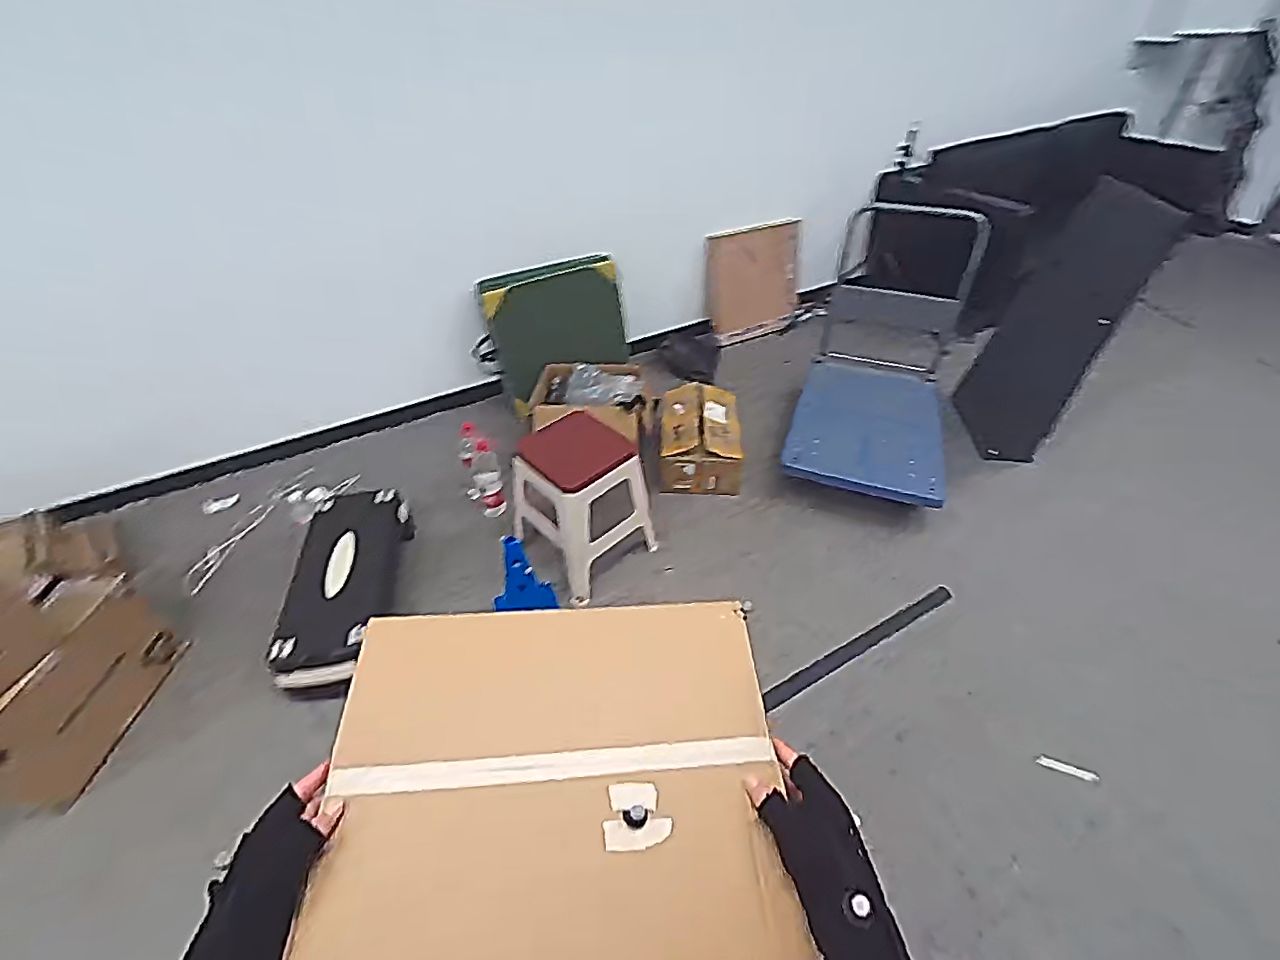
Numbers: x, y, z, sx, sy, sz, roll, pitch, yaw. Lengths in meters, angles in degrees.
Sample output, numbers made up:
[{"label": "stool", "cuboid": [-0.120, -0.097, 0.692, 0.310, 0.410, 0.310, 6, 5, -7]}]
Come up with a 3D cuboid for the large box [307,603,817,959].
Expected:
[{"label": "large box", "cuboid": [-0.076, 0.357, 0.619, 0.408, 0.320, 0.320, 0, 50, -6]}]
